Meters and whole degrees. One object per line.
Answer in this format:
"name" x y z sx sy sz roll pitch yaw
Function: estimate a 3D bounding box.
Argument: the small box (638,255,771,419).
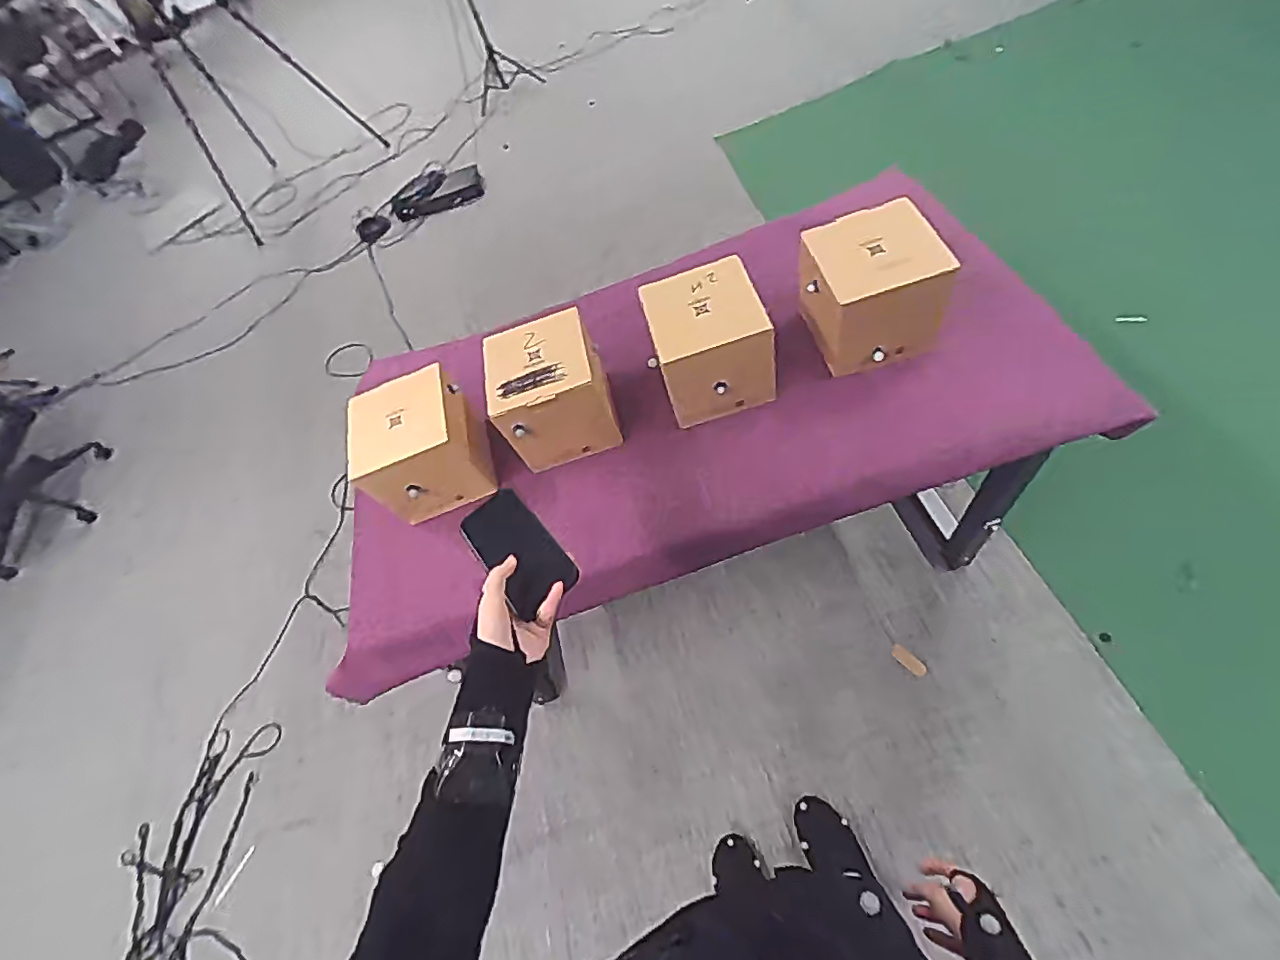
"small box" 0.108 -0.219 0.873 0.168 0.176 0.179 -17 57 6

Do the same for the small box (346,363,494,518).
"small box" -0.364 -0.056 0.911 0.168 0.176 0.179 -22 56 2

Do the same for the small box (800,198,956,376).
"small box" 0.356 -0.297 0.850 0.168 0.176 0.179 -16 57 7
